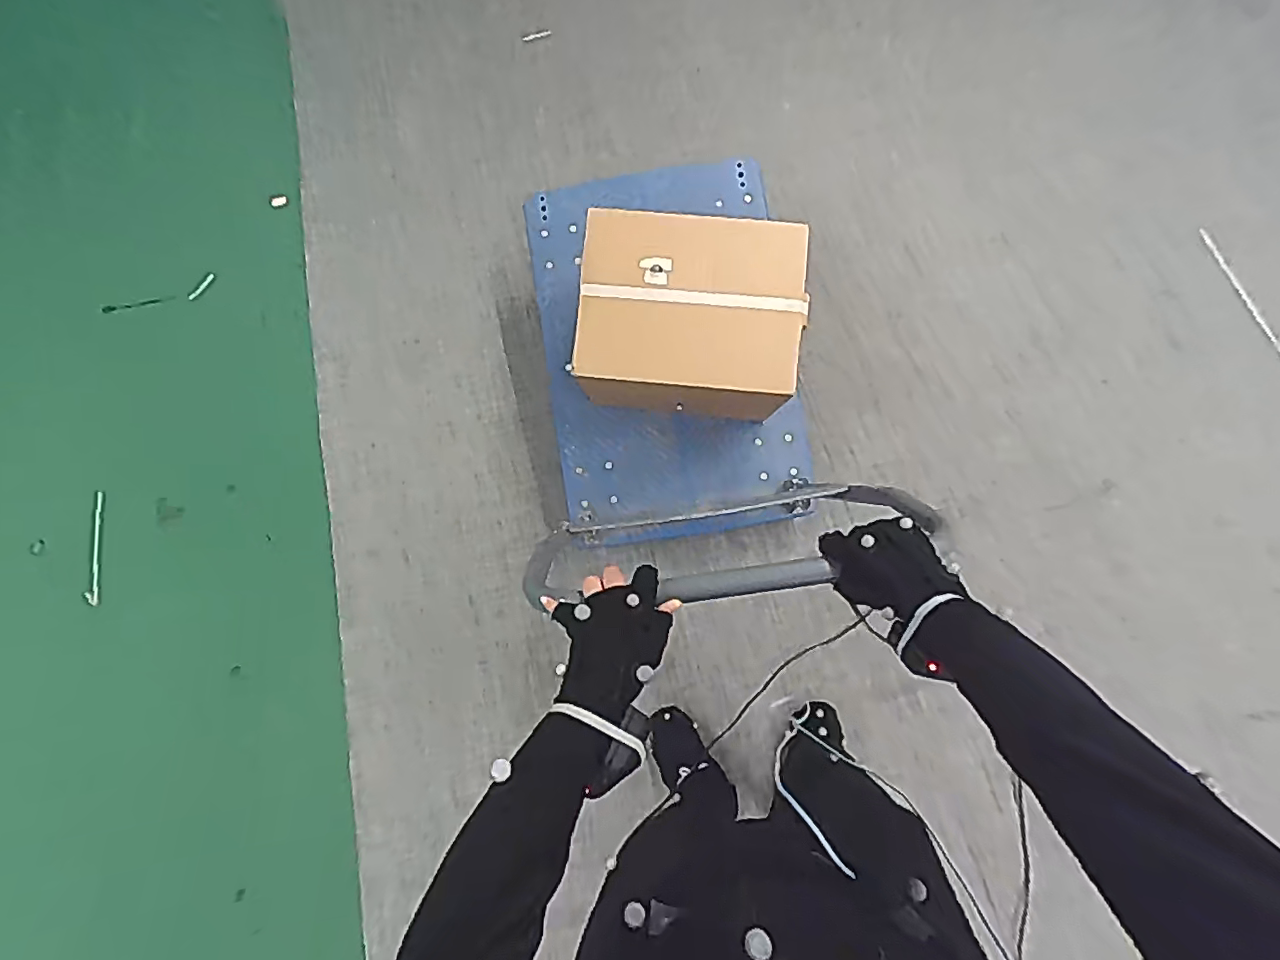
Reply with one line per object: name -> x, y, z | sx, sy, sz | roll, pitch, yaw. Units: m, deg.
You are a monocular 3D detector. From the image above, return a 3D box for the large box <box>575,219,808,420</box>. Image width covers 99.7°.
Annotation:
large box -> 0.102, -0.306, 1.122 | 0.408, 0.320, 0.320 | 6, 88, 4
